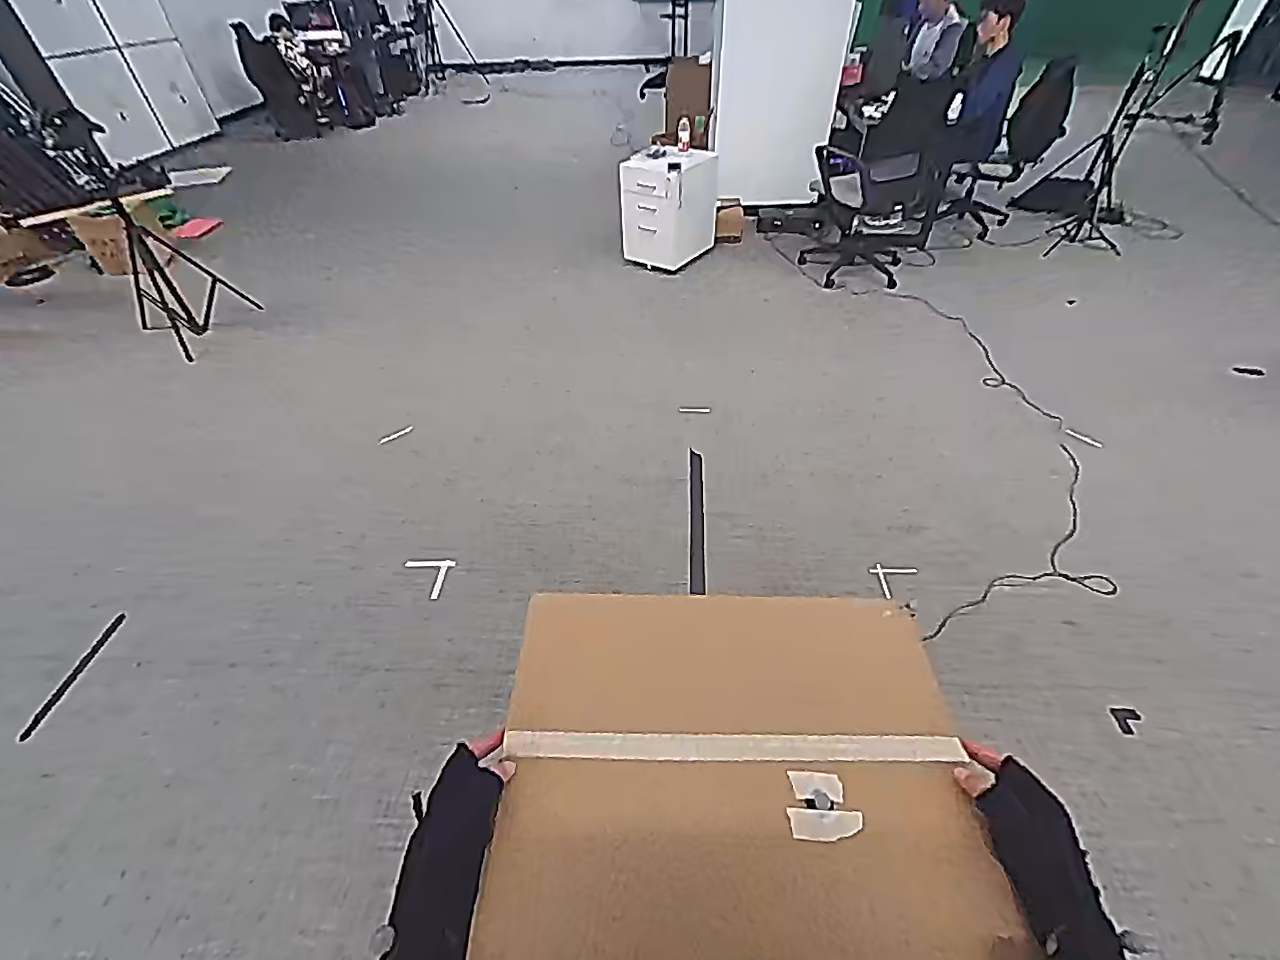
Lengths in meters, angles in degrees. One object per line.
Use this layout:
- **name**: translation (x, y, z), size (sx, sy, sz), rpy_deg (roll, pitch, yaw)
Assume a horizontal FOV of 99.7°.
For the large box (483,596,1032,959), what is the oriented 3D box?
- **large box**: translation (0.083, 0.343, 0.593), size (0.408, 0.320, 0.320), rpy_deg (1, 46, 1)
